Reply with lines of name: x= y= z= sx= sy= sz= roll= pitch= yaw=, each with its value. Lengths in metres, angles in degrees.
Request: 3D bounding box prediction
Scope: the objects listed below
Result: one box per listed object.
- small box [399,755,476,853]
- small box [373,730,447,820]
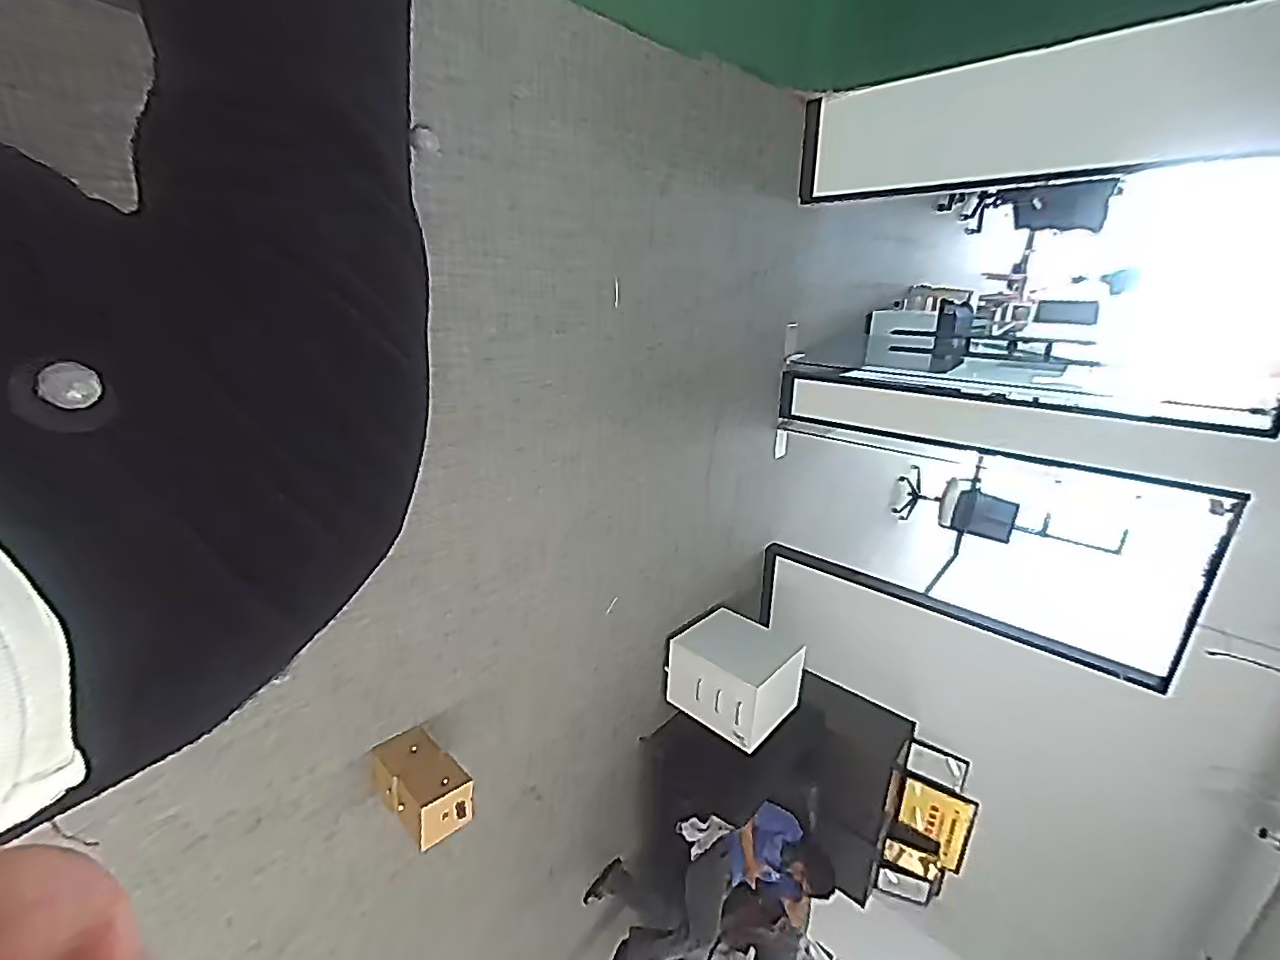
small box: x=-0.648 y=1.025 z=1.730 sx=0.179 sy=0.176 sz=0.168 roll=-10 pitch=111 yaw=-47
small box: x=-0.776 y=0.985 z=1.826 sx=0.179 sy=0.176 sz=0.168 roll=-13 pitch=114 yaw=-48
